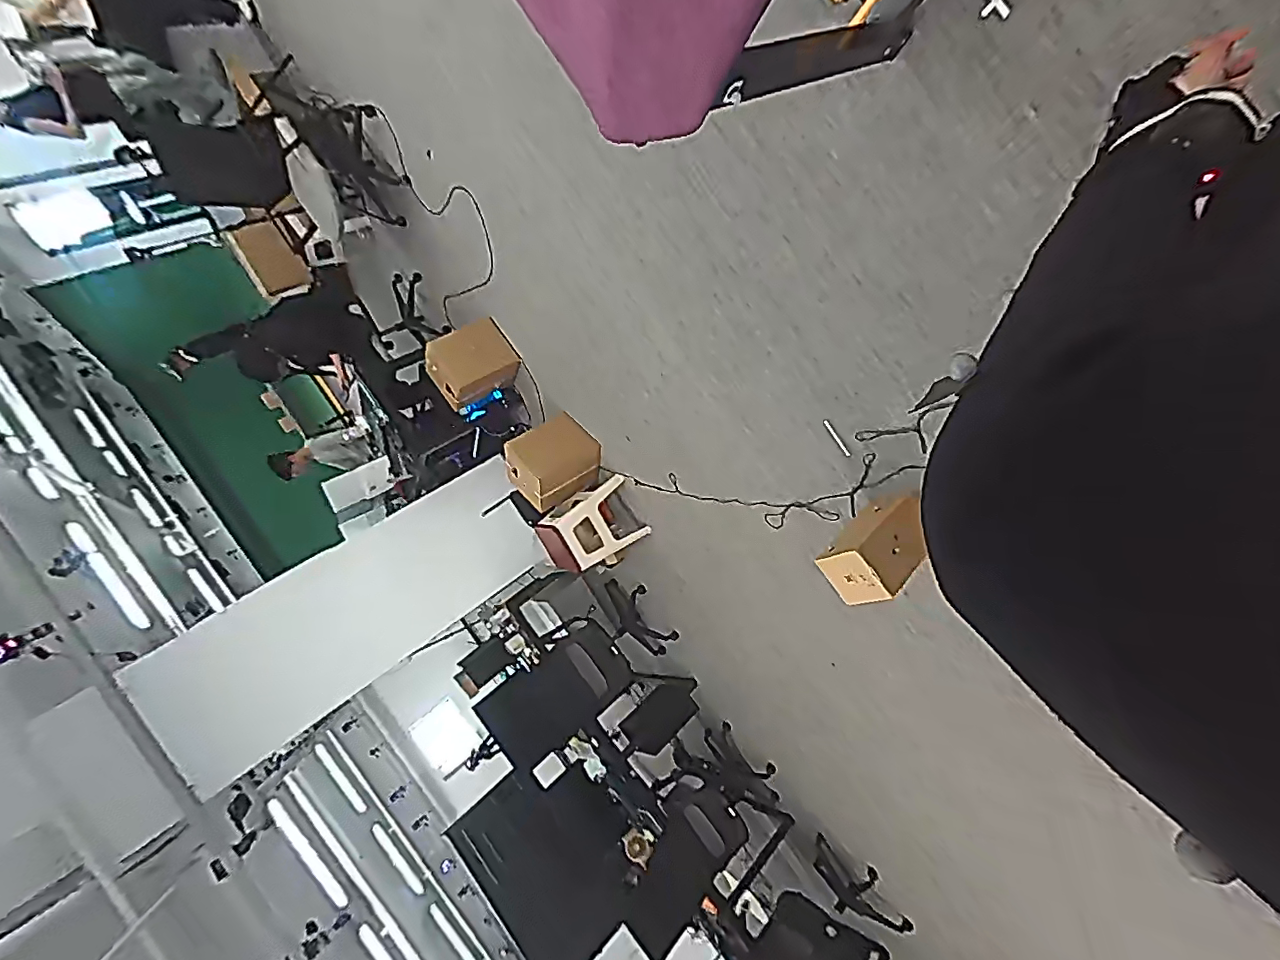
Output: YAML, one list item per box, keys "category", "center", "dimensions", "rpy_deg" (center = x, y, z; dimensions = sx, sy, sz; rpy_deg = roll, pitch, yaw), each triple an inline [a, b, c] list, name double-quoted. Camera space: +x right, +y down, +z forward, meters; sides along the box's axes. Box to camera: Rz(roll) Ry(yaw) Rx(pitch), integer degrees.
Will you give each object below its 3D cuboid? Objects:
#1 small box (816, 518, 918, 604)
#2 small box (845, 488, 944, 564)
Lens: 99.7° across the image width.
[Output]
- category: "small box"
  center: [0.651, 0.232, 1.550]
  dimensions: [0.168, 0.176, 0.179]
  rpy_deg: [53, 151, 1]
- category: "small box"
  center: [0.769, 0.149, 1.630]
  dimensions: [0.168, 0.176, 0.179]
  rpy_deg: [54, 150, 0]
